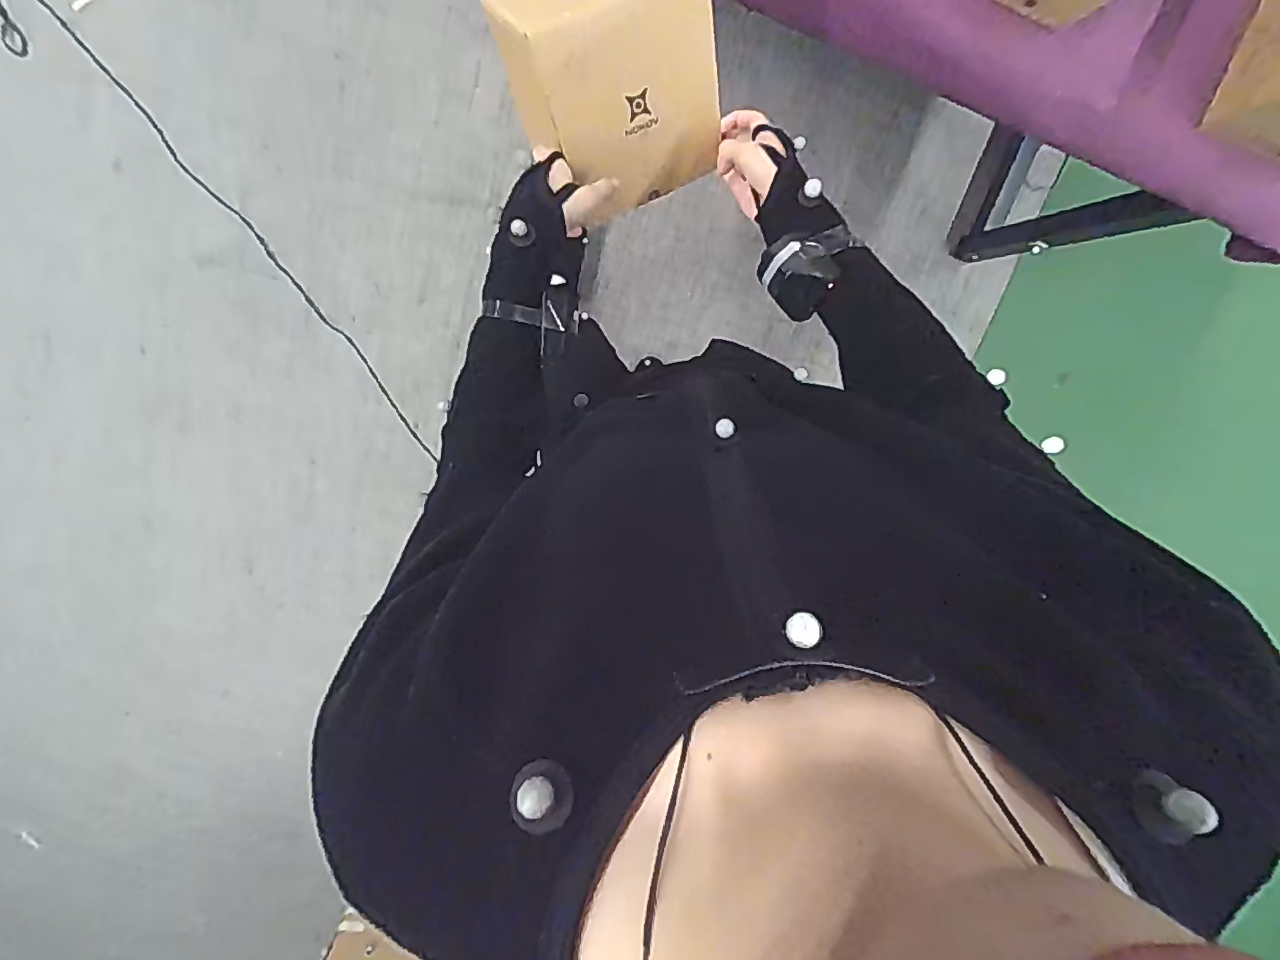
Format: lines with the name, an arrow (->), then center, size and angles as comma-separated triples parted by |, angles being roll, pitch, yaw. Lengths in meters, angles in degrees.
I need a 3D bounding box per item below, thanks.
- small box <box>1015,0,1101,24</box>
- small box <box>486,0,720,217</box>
small box -> 0.455, -0.609, 0.529 | 0.168, 0.176, 0.179 | 18, 102, -8
small box -> -0.035, -0.409, 0.539 | 0.168, 0.176, 0.179 | -25, 147, -4
